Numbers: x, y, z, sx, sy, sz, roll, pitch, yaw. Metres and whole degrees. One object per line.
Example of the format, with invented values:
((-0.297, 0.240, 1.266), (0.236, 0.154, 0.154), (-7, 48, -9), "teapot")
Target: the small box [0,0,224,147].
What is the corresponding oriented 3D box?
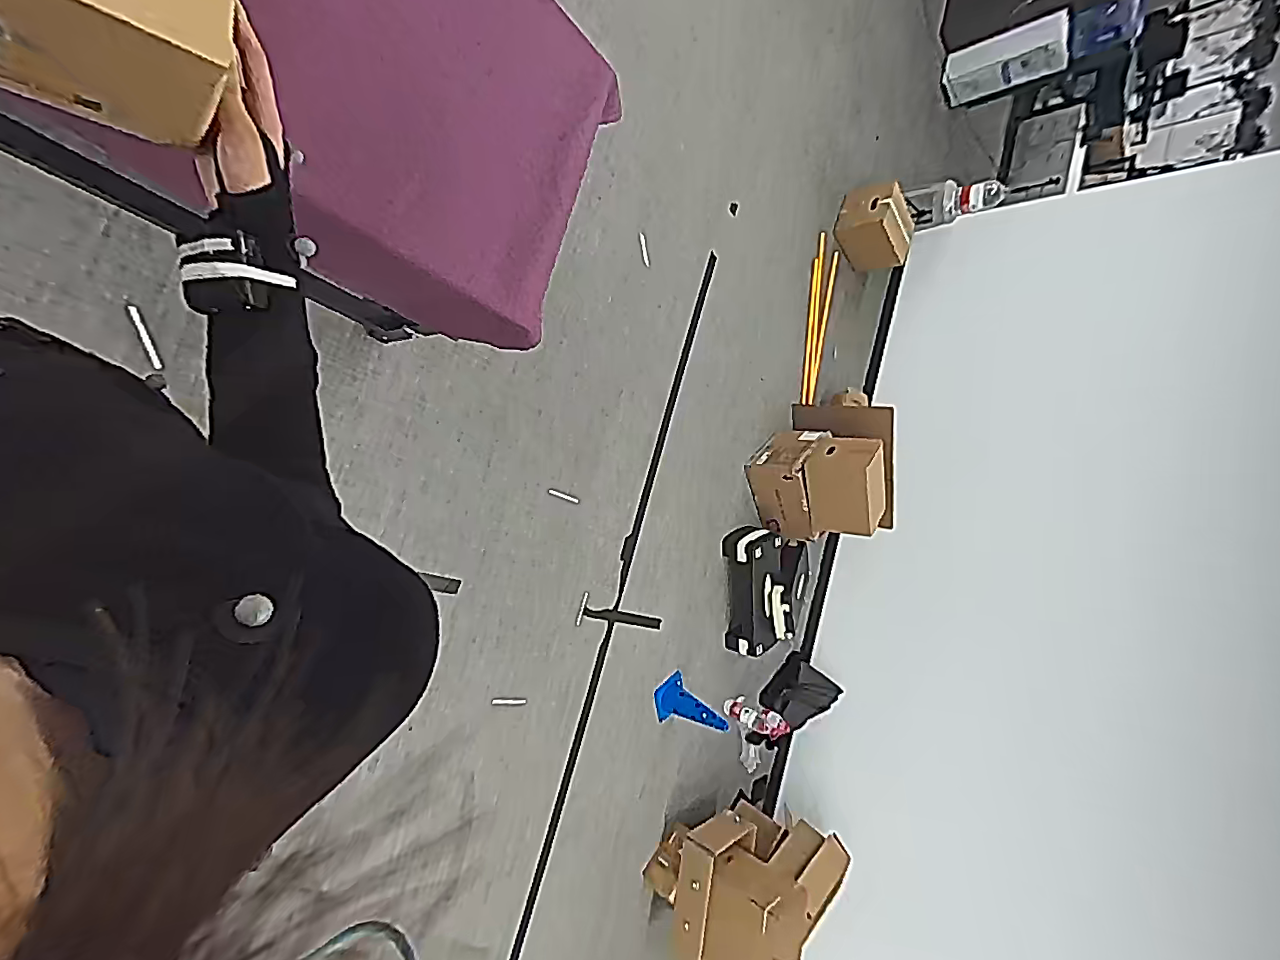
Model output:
((-0.355, -0.339, 0.319), (0.168, 0.176, 0.179), (2, 93, -45), "small box")
